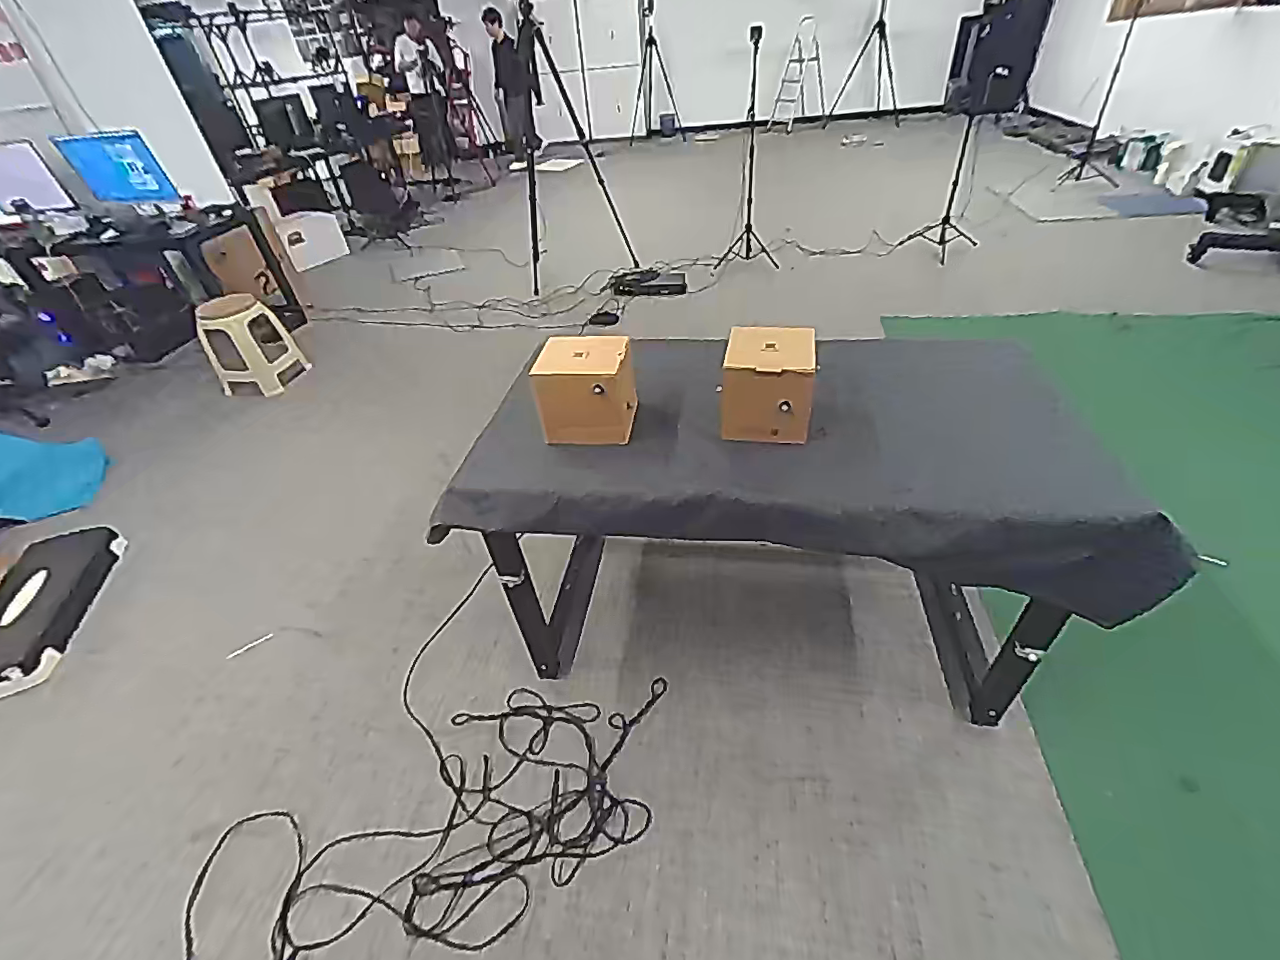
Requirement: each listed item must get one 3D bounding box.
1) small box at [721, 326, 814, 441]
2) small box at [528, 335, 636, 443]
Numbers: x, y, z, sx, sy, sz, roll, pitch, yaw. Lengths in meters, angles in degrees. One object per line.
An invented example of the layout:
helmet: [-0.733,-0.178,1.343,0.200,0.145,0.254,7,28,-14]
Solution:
small box: [0.254,-0.193,1.083,0.168,0.176,0.179,5,40,12]
small box: [-0.111,-0.188,1.127,0.179,0.176,0.168,1,40,8]
